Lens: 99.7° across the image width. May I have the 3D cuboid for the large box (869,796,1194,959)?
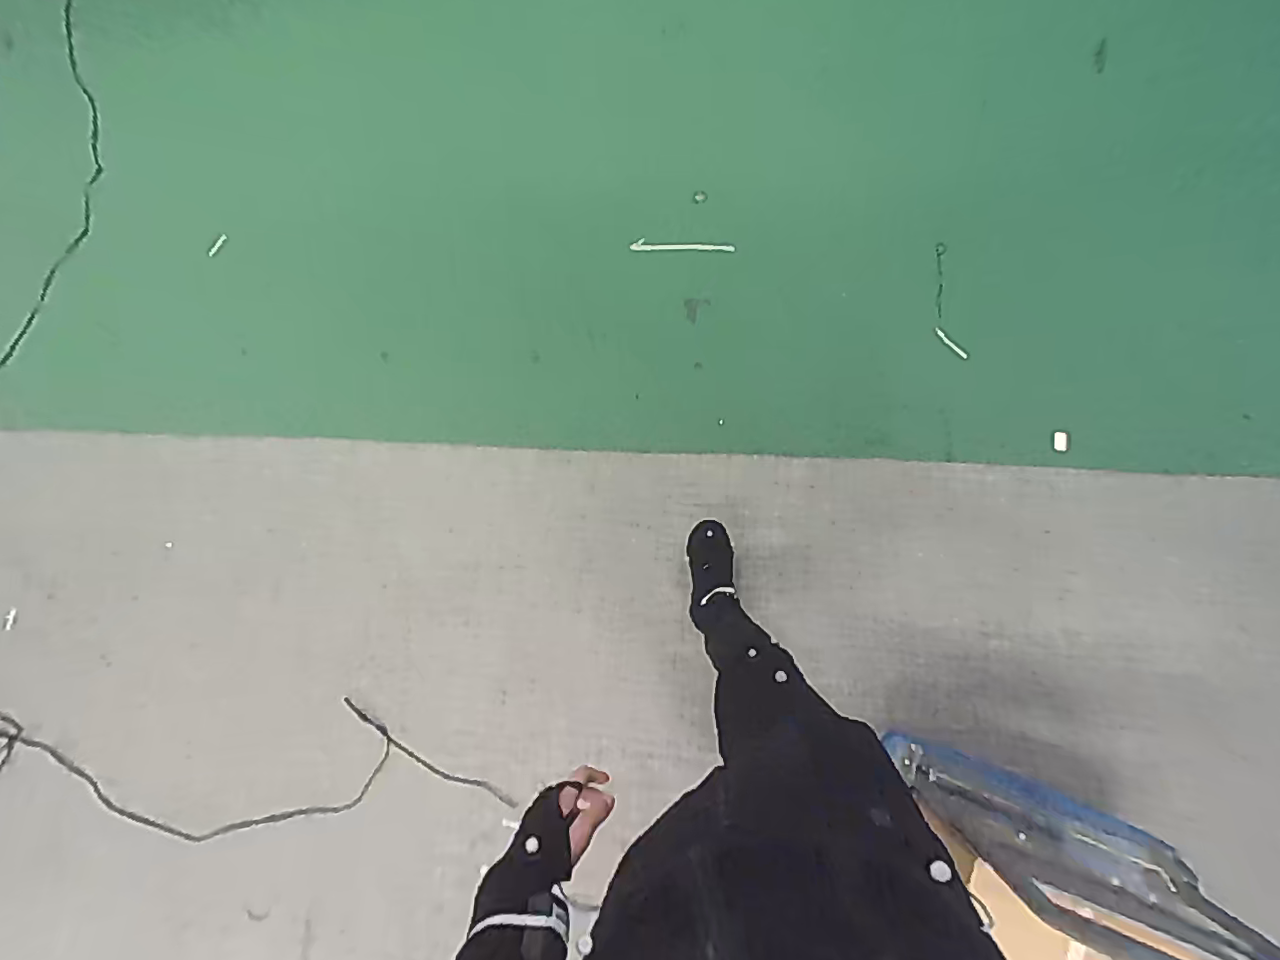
[{"bbox_3d":[0.622,0.851,0.929,0.320,0.320,0.408,18,81,11],"label":"large box"}]
